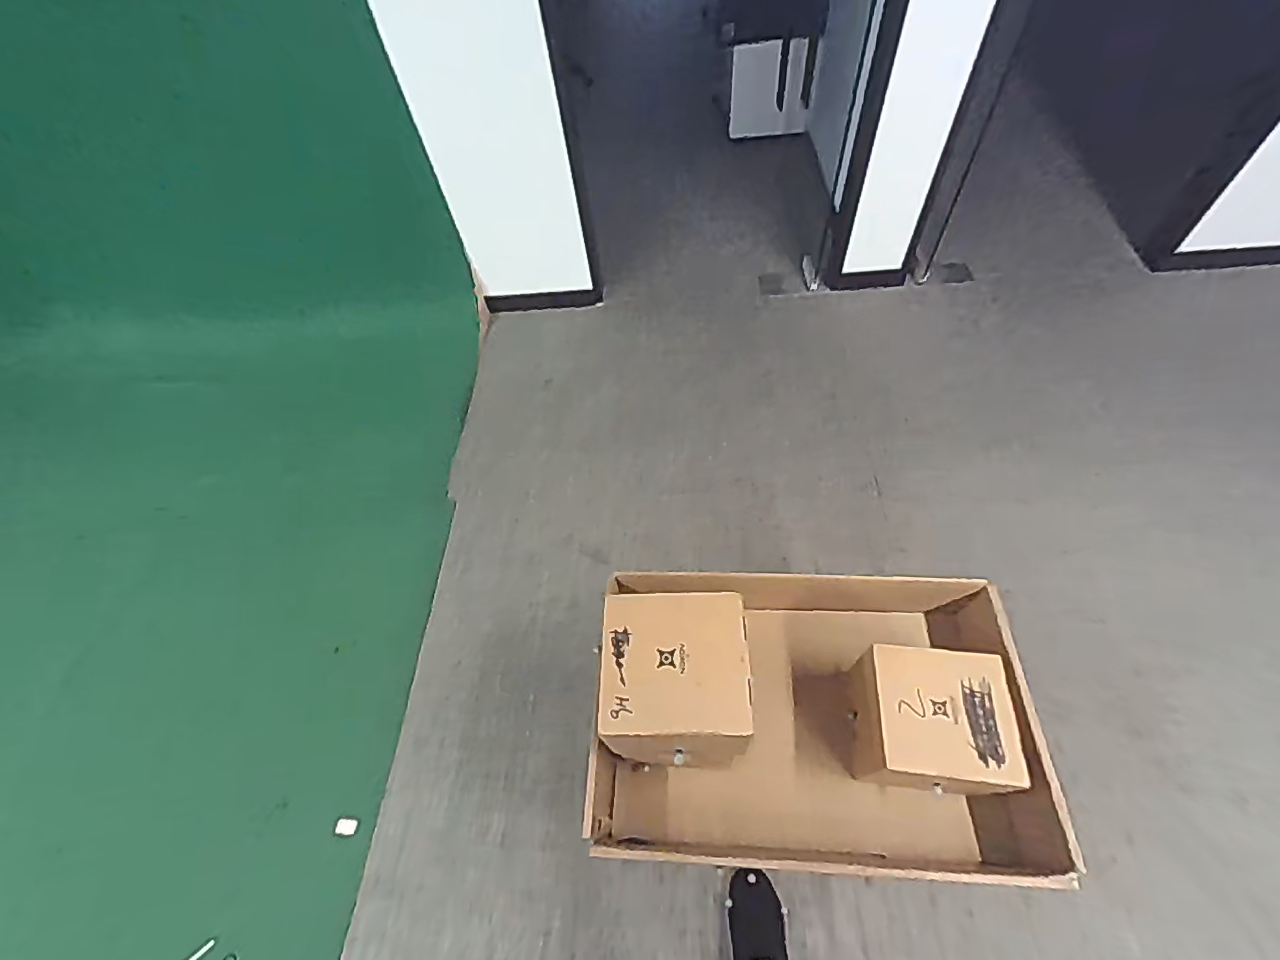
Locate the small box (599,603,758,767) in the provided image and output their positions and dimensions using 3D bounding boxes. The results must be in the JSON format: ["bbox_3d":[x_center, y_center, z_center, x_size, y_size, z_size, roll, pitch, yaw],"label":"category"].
[{"bbox_3d":[0.050,0.268,0.699,0.179,0.176,0.168,-2,55,5],"label":"small box"}]
